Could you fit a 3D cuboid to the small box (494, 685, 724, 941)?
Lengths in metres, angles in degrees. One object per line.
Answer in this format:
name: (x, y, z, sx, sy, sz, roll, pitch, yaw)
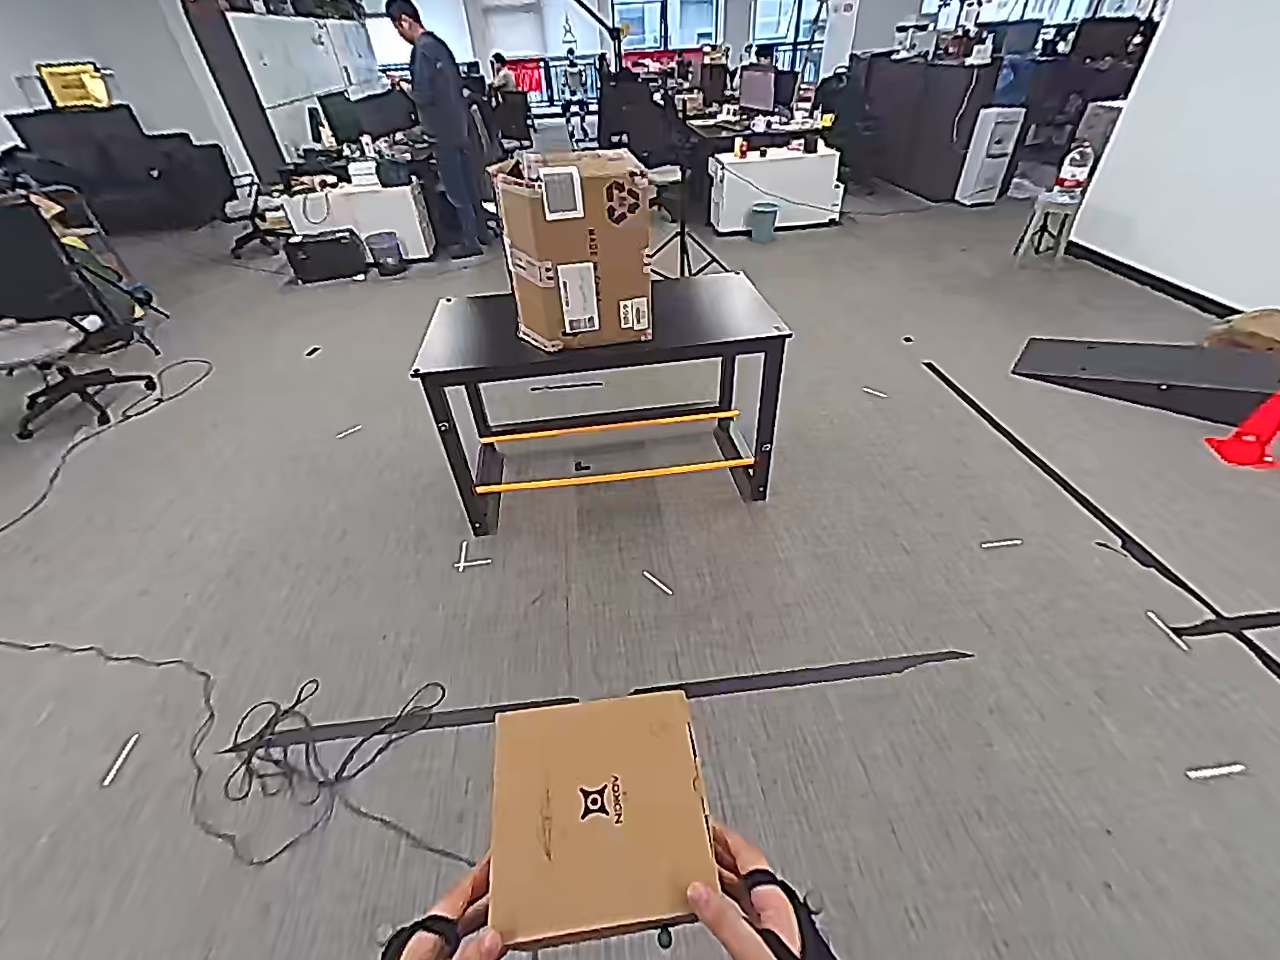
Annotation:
small box: (-0.032, 0.316, 0.513, 0.179, 0.176, 0.168, -7, 48, -5)
